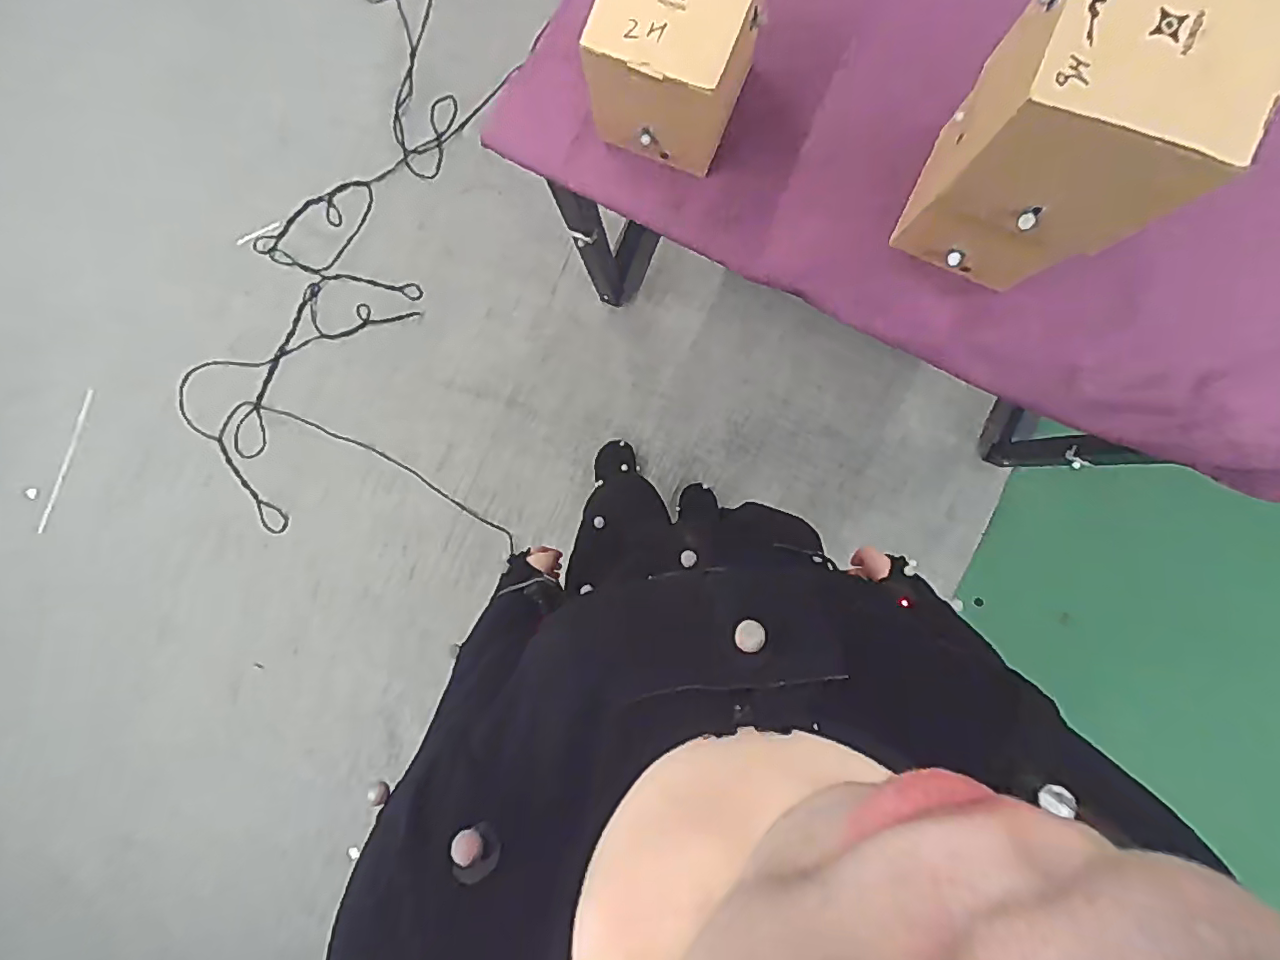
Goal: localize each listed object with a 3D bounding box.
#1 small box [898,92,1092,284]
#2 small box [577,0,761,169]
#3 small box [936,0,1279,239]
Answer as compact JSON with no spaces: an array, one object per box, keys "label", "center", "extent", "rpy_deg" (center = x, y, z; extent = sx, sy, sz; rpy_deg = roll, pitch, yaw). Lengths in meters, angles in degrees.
[{"label":"small box","center":[0.442,-0.367,0.644],"extent":[0.168,0.176,0.179],"rpy_deg":[25,93,4]},{"label":"small box","center":[0.040,-0.534,0.667],"extent":[0.168,0.176,0.179],"rpy_deg":[23,91,4]},{"label":"small box","center":[0.411,-0.343,0.482],"extent":[0.179,0.176,0.168],"rpy_deg":[22,93,4]}]
